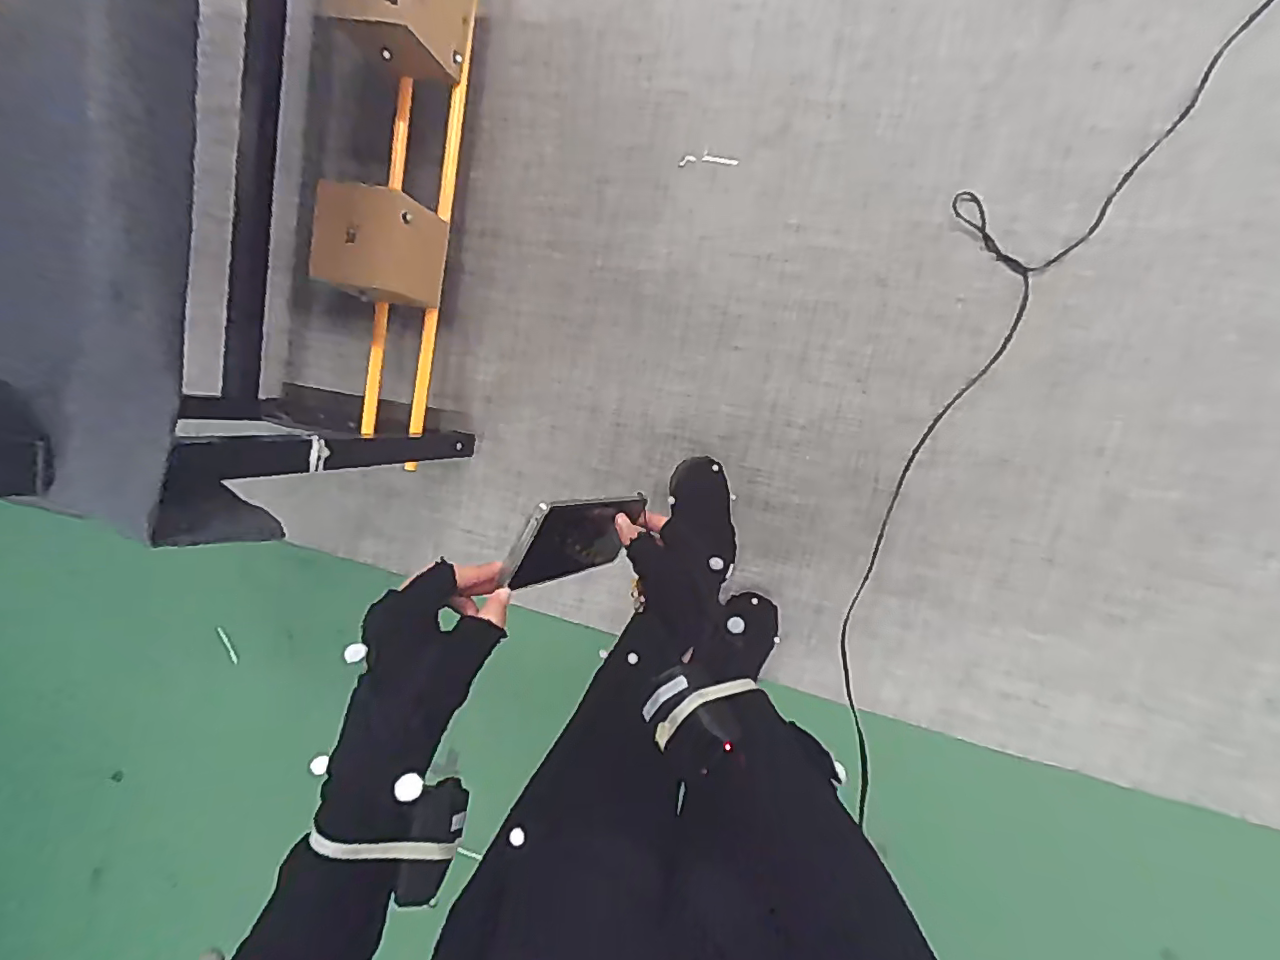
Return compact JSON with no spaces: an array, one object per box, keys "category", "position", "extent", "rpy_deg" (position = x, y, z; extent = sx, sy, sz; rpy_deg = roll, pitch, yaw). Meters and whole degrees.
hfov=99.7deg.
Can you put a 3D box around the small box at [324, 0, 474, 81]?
[{"category":"small box","position":[-0.429,-0.867,0.983],"extent":[0.179,0.176,0.168],"rpy_deg":[15,98,13]}]
